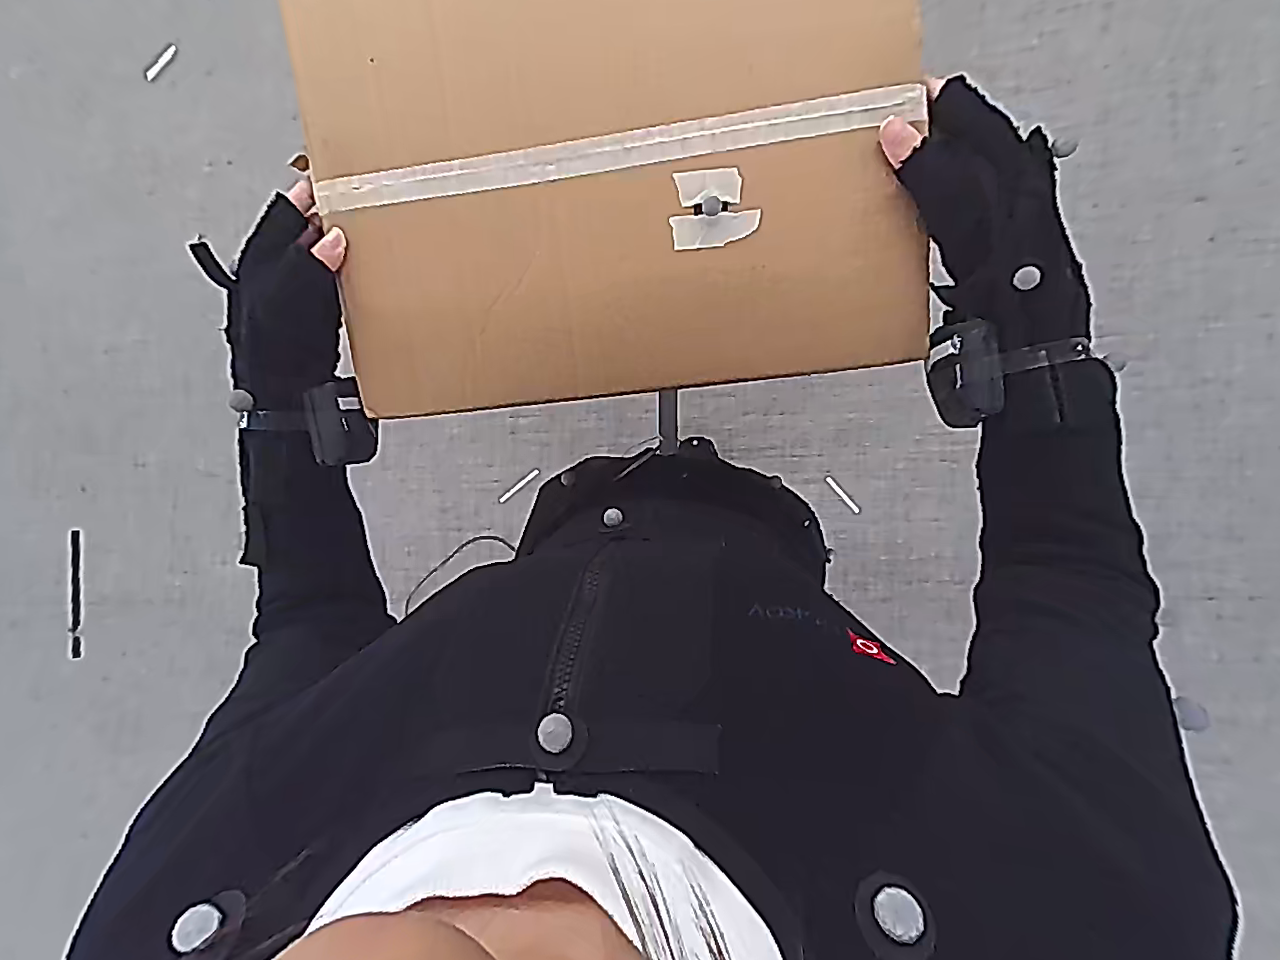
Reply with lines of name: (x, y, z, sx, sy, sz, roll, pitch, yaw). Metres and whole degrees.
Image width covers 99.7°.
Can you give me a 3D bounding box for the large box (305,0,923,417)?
large box: (-0.007, -0.247, 0.518, 0.408, 0.320, 0.320, -6, 101, 5)
